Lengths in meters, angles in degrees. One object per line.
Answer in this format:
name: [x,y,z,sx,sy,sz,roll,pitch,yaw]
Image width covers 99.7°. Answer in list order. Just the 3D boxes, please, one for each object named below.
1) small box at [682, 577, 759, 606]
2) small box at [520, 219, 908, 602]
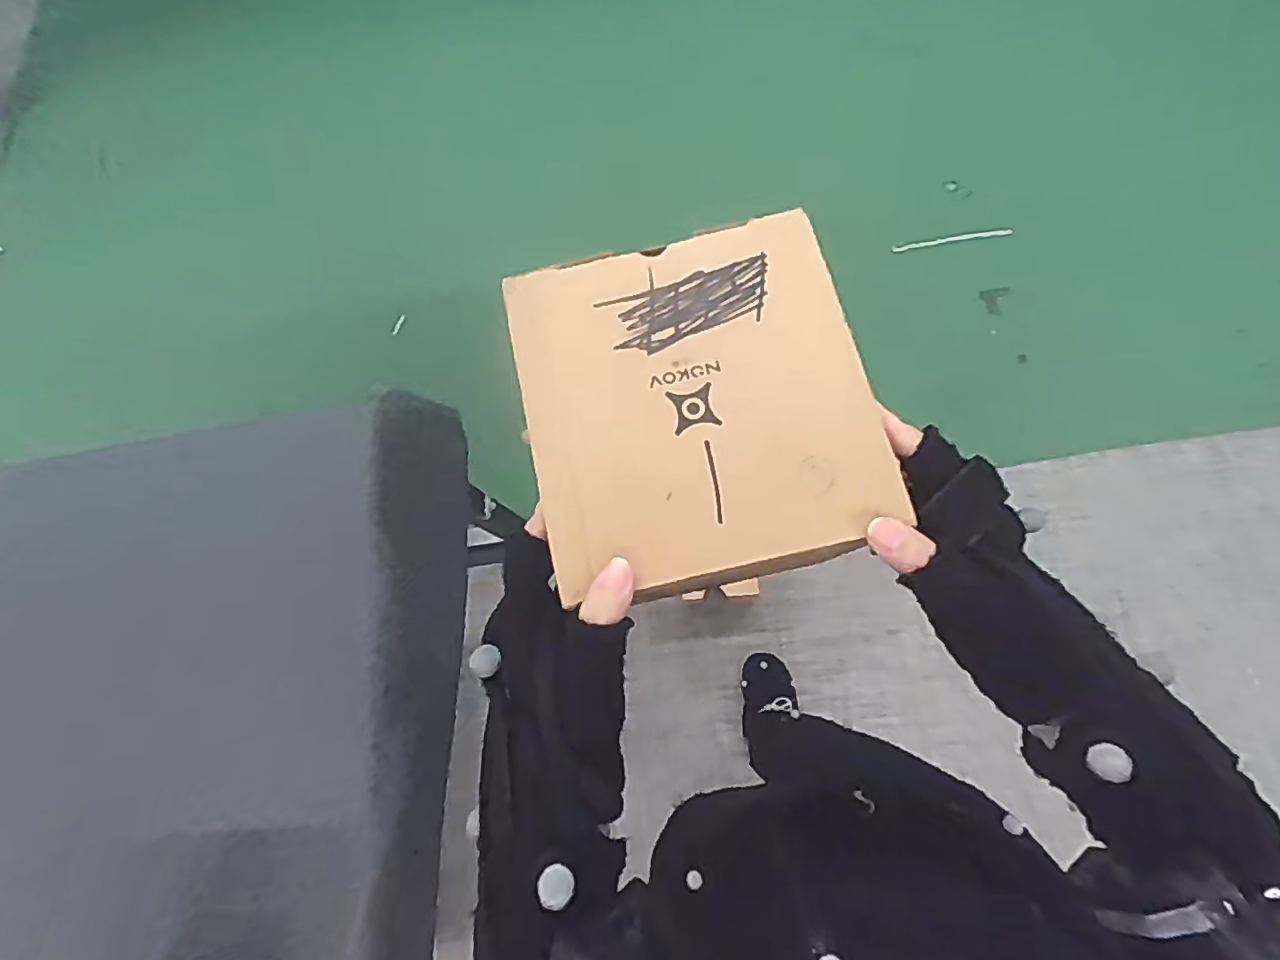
small box: [0.178,0.192,1.249,0.168,0.176,0.179,-6,73,7]
small box: [0.034,-0.024,0.347,0.168,0.176,0.179,-12,76,2]
